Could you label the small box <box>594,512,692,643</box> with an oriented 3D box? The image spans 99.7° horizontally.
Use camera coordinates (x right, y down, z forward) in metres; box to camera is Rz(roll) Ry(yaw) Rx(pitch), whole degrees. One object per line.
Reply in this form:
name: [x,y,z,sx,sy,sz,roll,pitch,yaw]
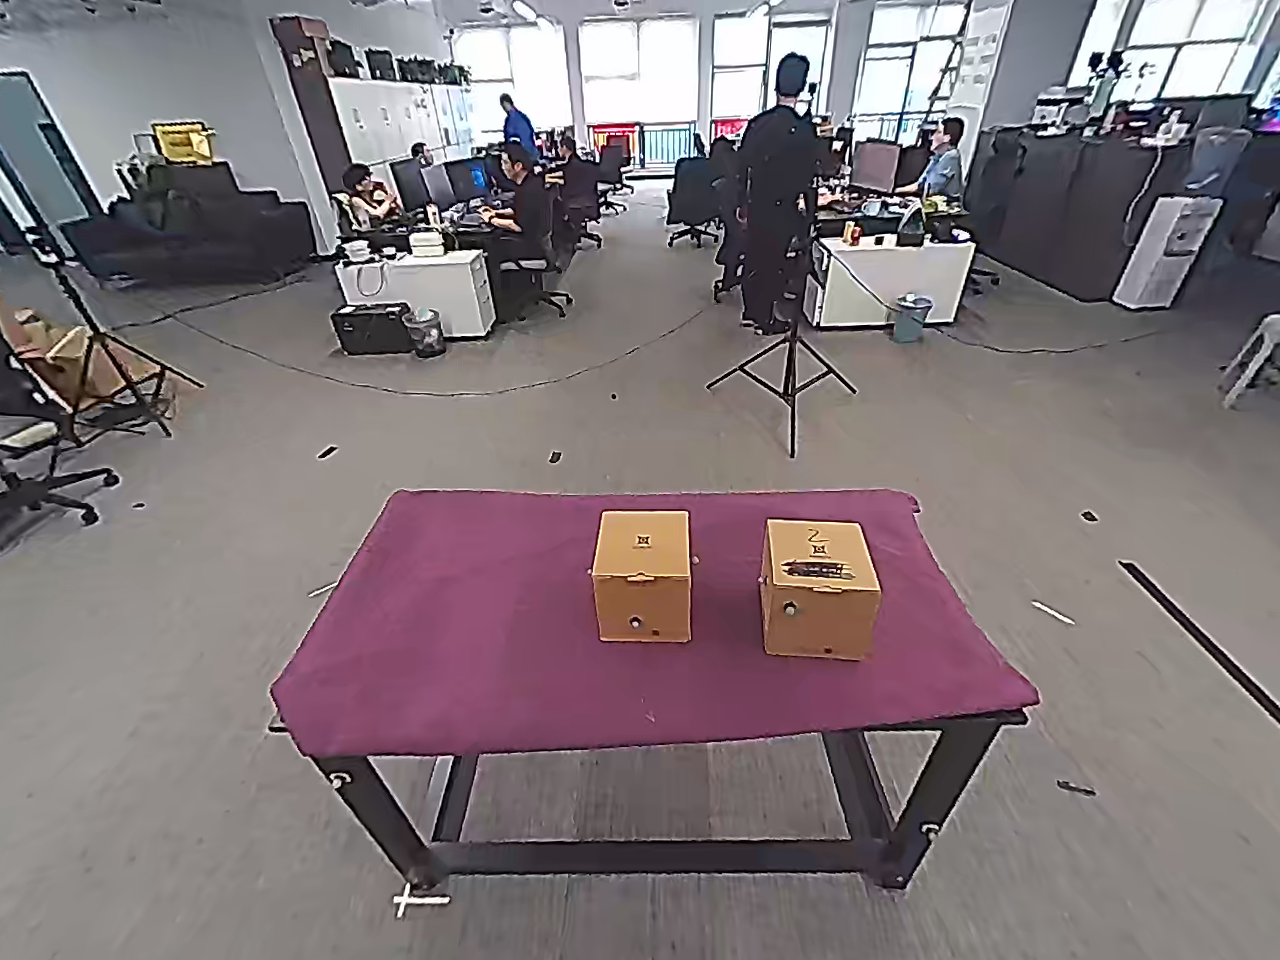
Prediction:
small box: [0.010,0.179,1.010,0.168,0.176,0.179,0,35,4]
